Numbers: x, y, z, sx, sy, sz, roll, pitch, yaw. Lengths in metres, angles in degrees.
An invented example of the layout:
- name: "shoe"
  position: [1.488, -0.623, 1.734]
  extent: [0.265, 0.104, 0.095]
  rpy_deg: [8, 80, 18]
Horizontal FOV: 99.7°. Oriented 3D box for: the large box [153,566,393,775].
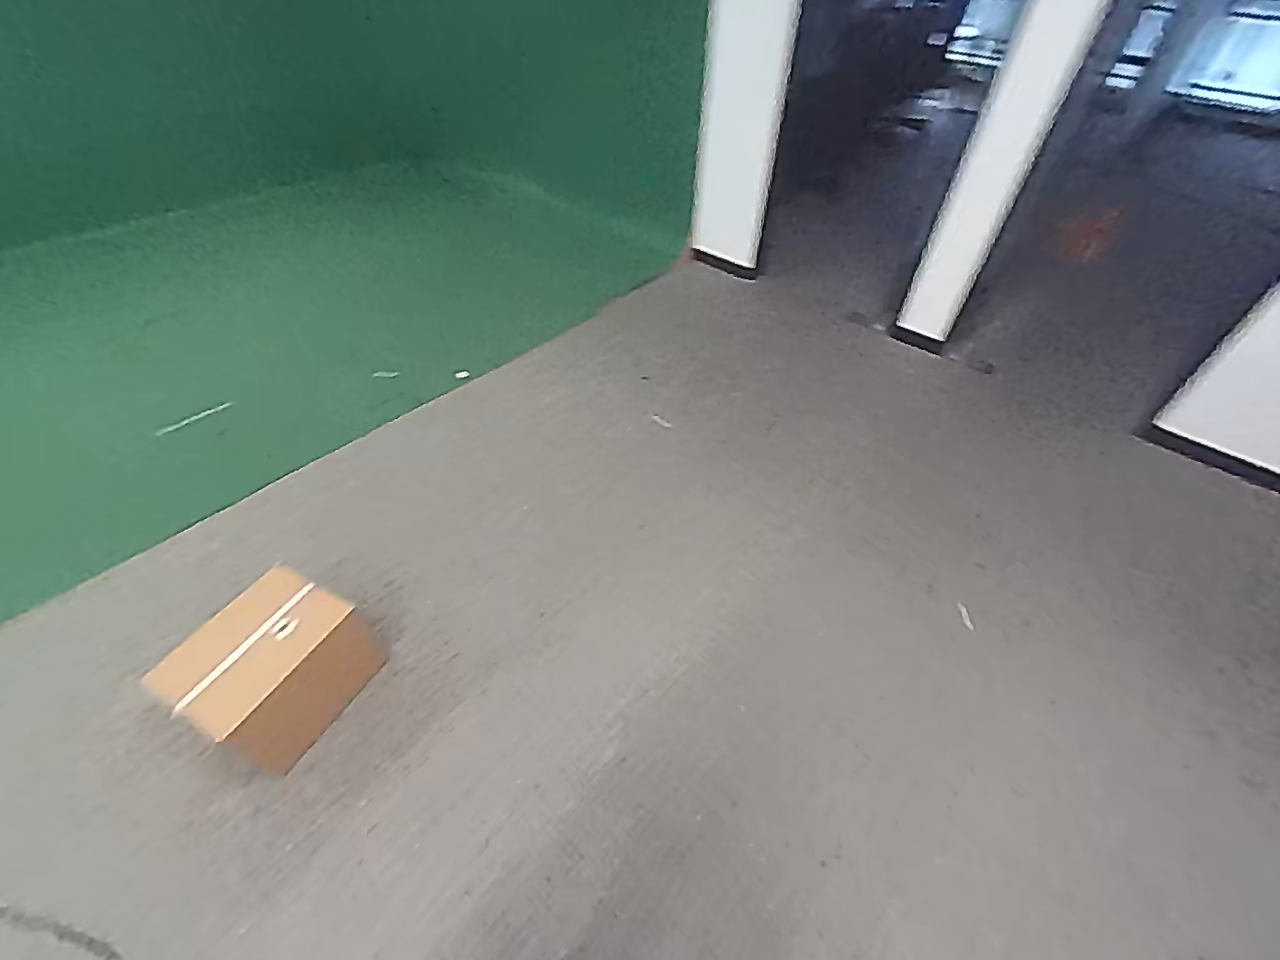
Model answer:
- name: "large box"
  position: [-1.000, 0.531, 1.531]
  extent: [0.320, 0.320, 0.408]
  rpy_deg: [21, 49, 18]
